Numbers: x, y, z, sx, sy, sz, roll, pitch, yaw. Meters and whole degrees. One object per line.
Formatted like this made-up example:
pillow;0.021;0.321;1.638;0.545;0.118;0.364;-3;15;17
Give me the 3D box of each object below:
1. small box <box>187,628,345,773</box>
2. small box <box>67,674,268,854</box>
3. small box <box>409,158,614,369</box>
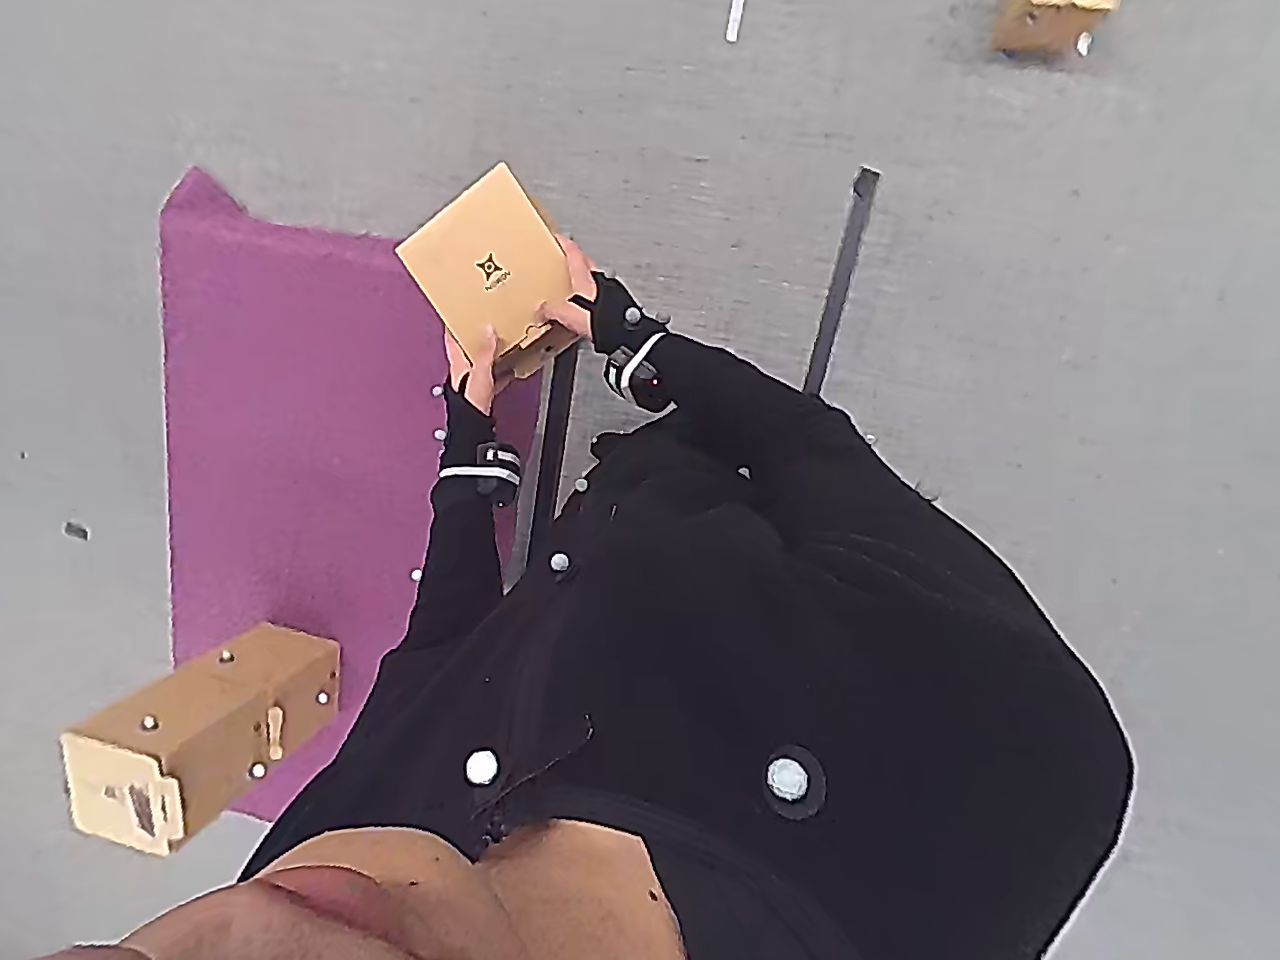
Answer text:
small box;-0.687;0.396;1.004;0.179;0.176;0.168;12;104;8
small box;-0.719;0.429;0.846;0.179;0.176;0.168;8;102;10
small box;-0.151;-0.260;0.701;0.168;0.176;0.179;-32;95;9
